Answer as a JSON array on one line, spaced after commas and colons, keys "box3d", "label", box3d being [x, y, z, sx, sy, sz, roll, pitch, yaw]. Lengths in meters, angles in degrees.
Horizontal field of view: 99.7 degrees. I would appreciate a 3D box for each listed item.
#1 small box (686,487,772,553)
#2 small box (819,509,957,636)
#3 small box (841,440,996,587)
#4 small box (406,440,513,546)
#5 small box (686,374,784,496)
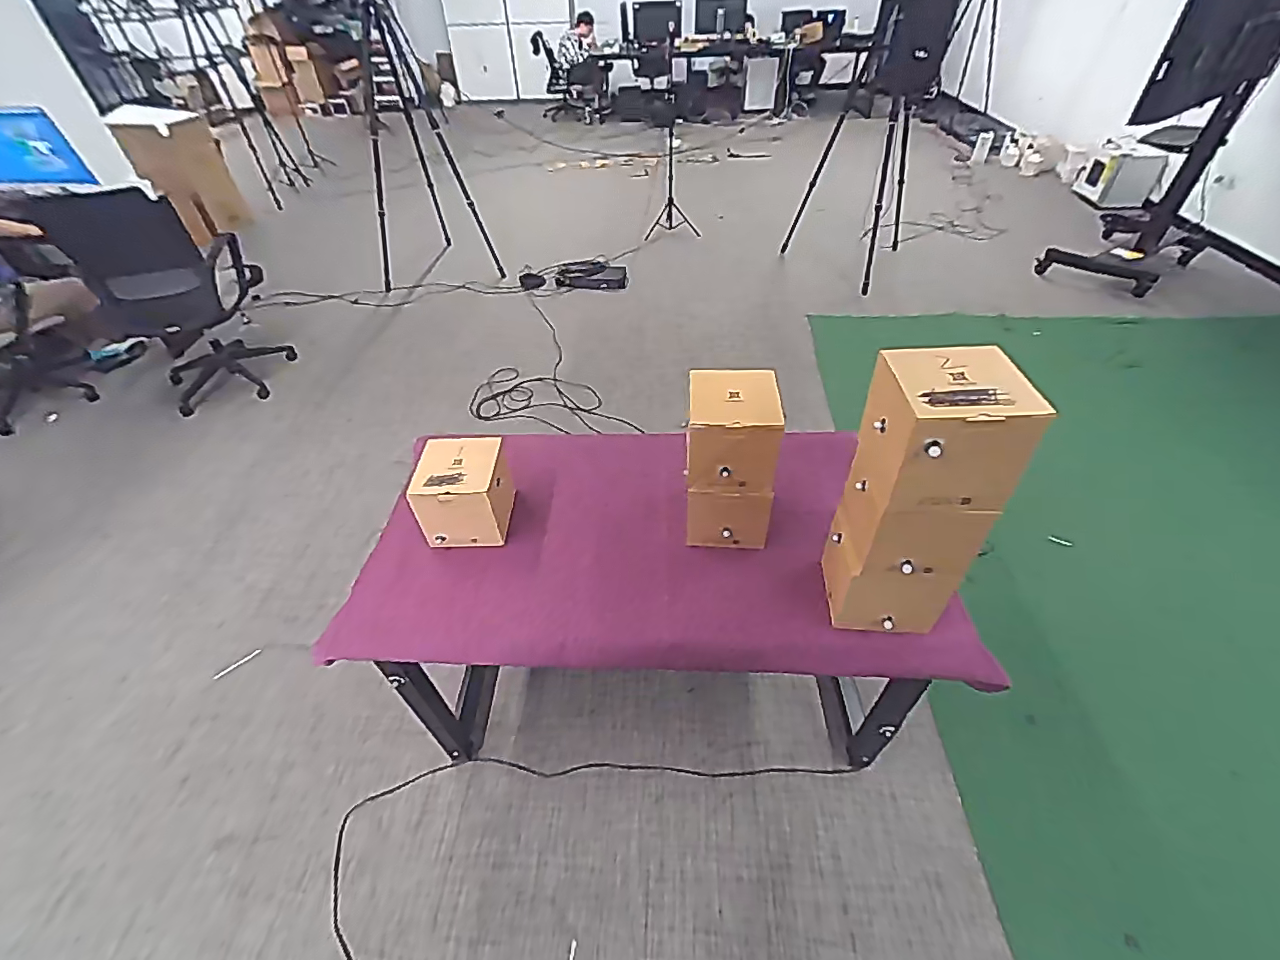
[{"box3d": [0.187, 0.032, 1.165, 0.168, 0.176, 0.179, 3, 44, 6], "label": "small box"}, {"box3d": [0.447, 0.174, 1.006, 0.179, 0.176, 0.168, 3, 43, 6], "label": "small box"}, {"box3d": [0.443, 0.054, 0.897, 0.168, 0.176, 0.179, 2, 43, 7], "label": "small box"}, {"box3d": [-0.383, 0.032, 1.187, 0.168, 0.176, 0.179, -1, 43, 0], "label": "small box"}, {"box3d": [0.175, -0.088, 1.057, 0.168, 0.176, 0.179, 1, 45, 3], "label": "small box"}]
